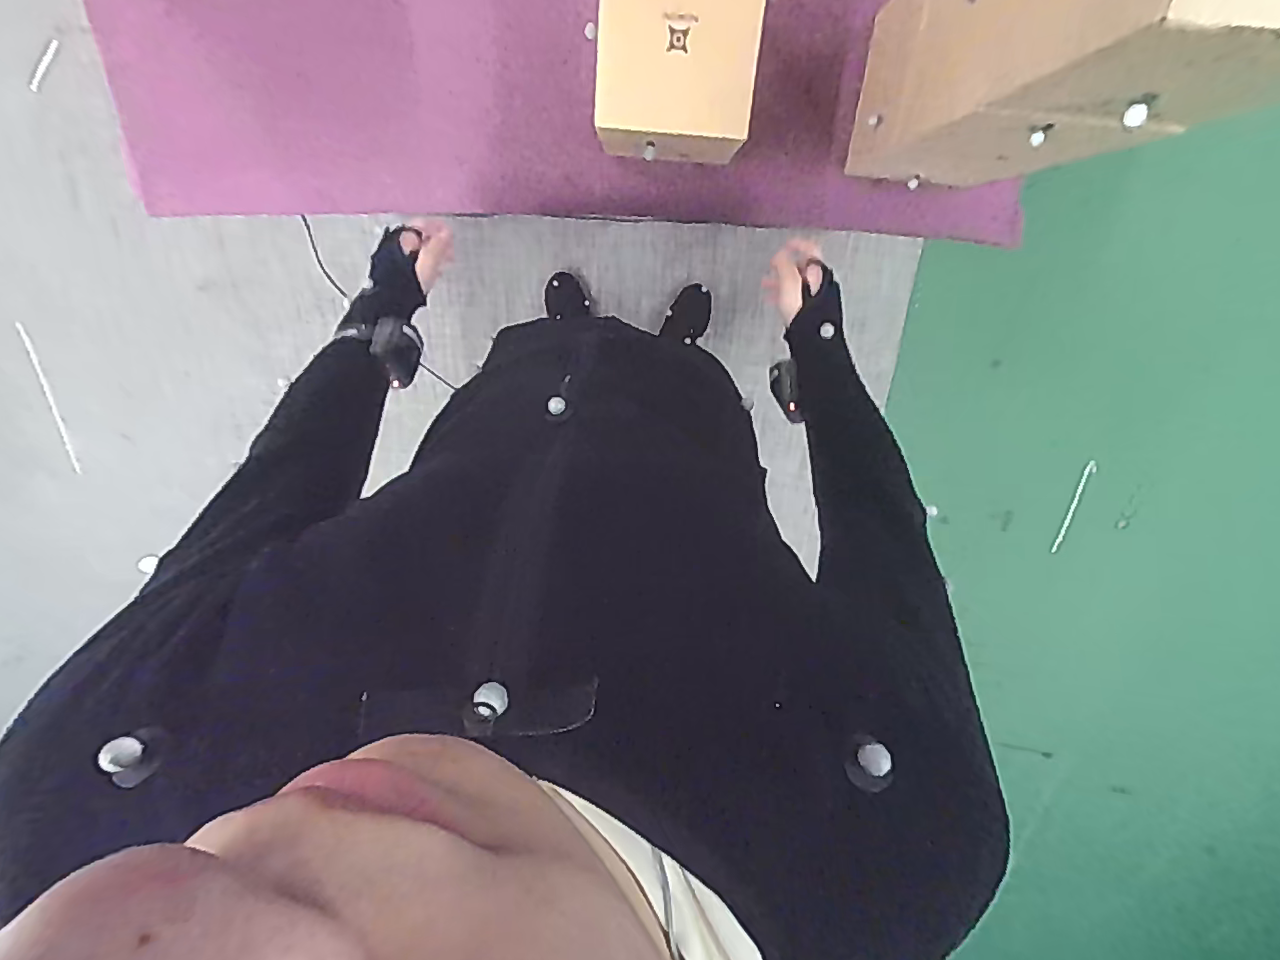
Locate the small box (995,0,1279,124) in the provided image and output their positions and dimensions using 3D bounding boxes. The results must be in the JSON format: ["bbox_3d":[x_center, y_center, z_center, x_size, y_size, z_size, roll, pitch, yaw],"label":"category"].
[{"bbox_3d":[0.347,-0.330,0.308,0.168,0.176,0.179,6,113,1],"label":"small box"}]

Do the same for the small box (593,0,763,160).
[{"bbox_3d":[0.041,-0.479,0.616,0.168,0.176,0.179,5,112,0],"label":"small box"}]

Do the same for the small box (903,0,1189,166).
[{"bbox_3d":[0.354,-0.390,0.462,0.168,0.176,0.179,6,112,1],"label":"small box"}]
